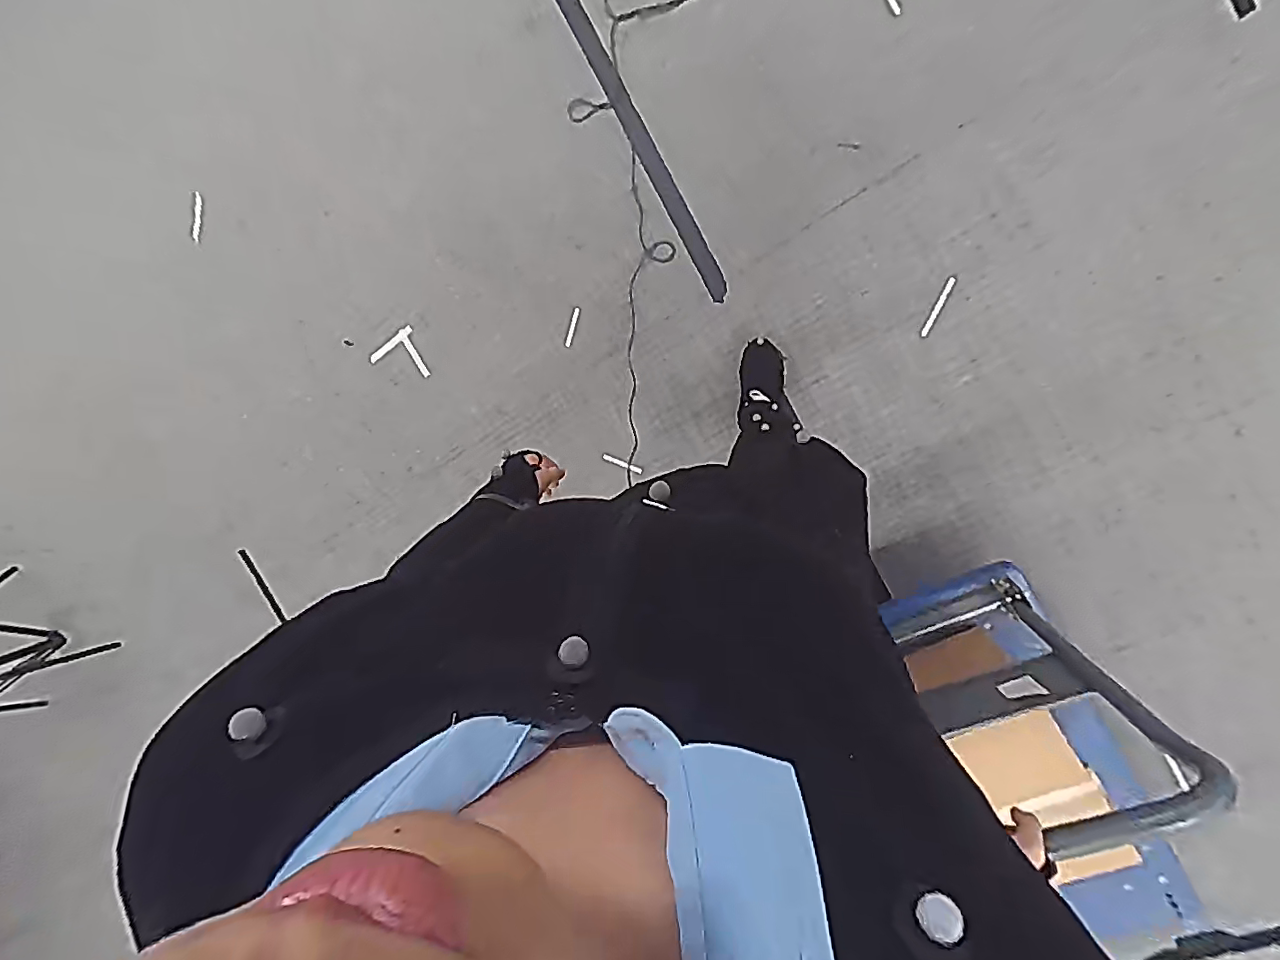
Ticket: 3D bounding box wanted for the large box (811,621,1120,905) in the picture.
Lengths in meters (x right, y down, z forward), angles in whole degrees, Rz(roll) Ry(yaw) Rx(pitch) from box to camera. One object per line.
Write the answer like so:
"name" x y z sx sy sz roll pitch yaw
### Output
"large box" 0.614 0.559 1.111 0.408 0.320 0.320 -32 90 18
